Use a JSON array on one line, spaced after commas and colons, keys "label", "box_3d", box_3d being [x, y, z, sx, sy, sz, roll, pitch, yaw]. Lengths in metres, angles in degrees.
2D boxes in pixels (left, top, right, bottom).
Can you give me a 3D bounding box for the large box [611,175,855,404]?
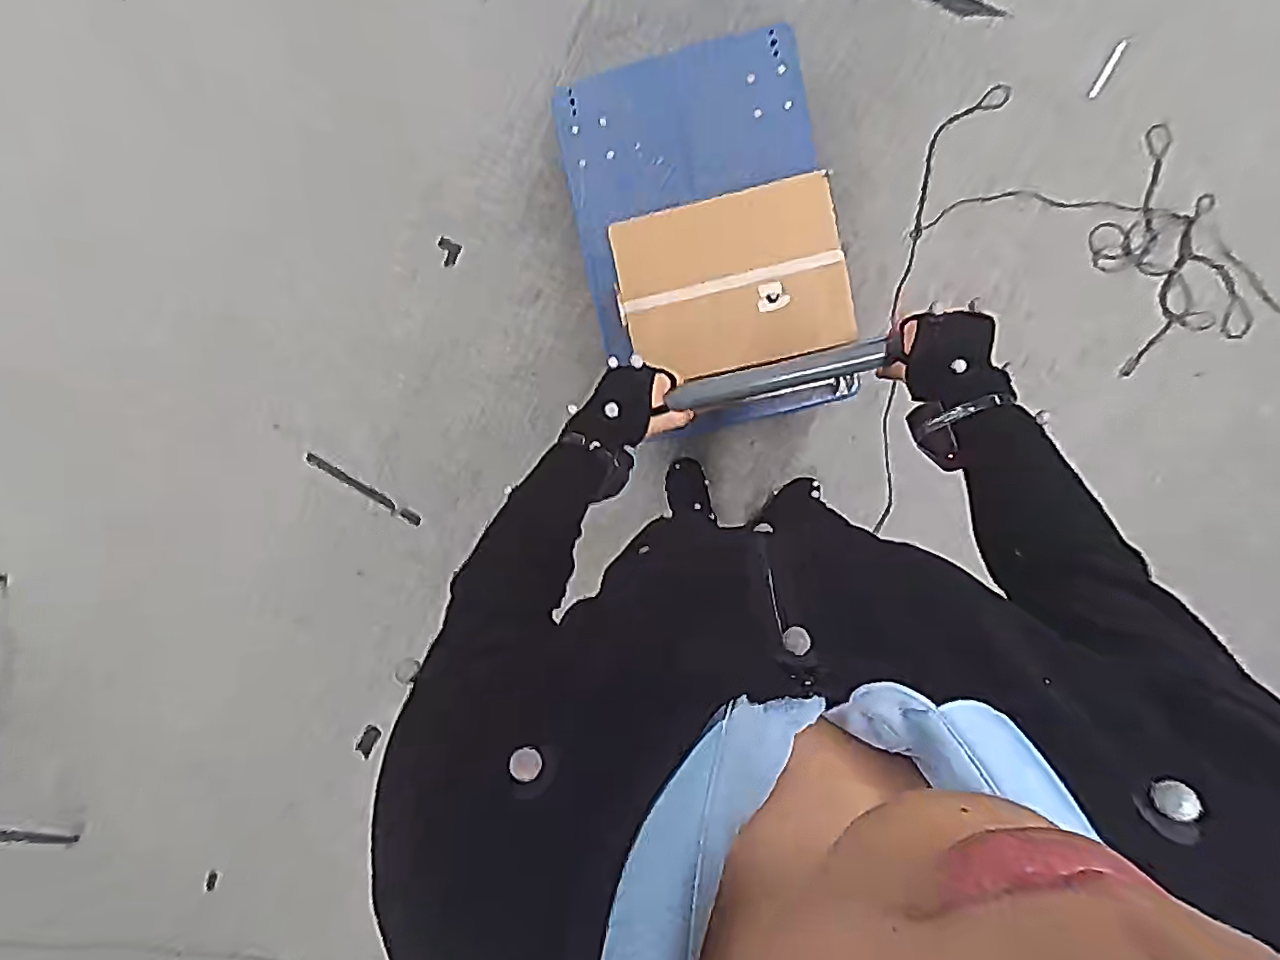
[{"label": "large box", "box_3d": [0.180, -0.367, 1.144, 0.408, 0.320, 0.320, -12, 93, 5]}]
